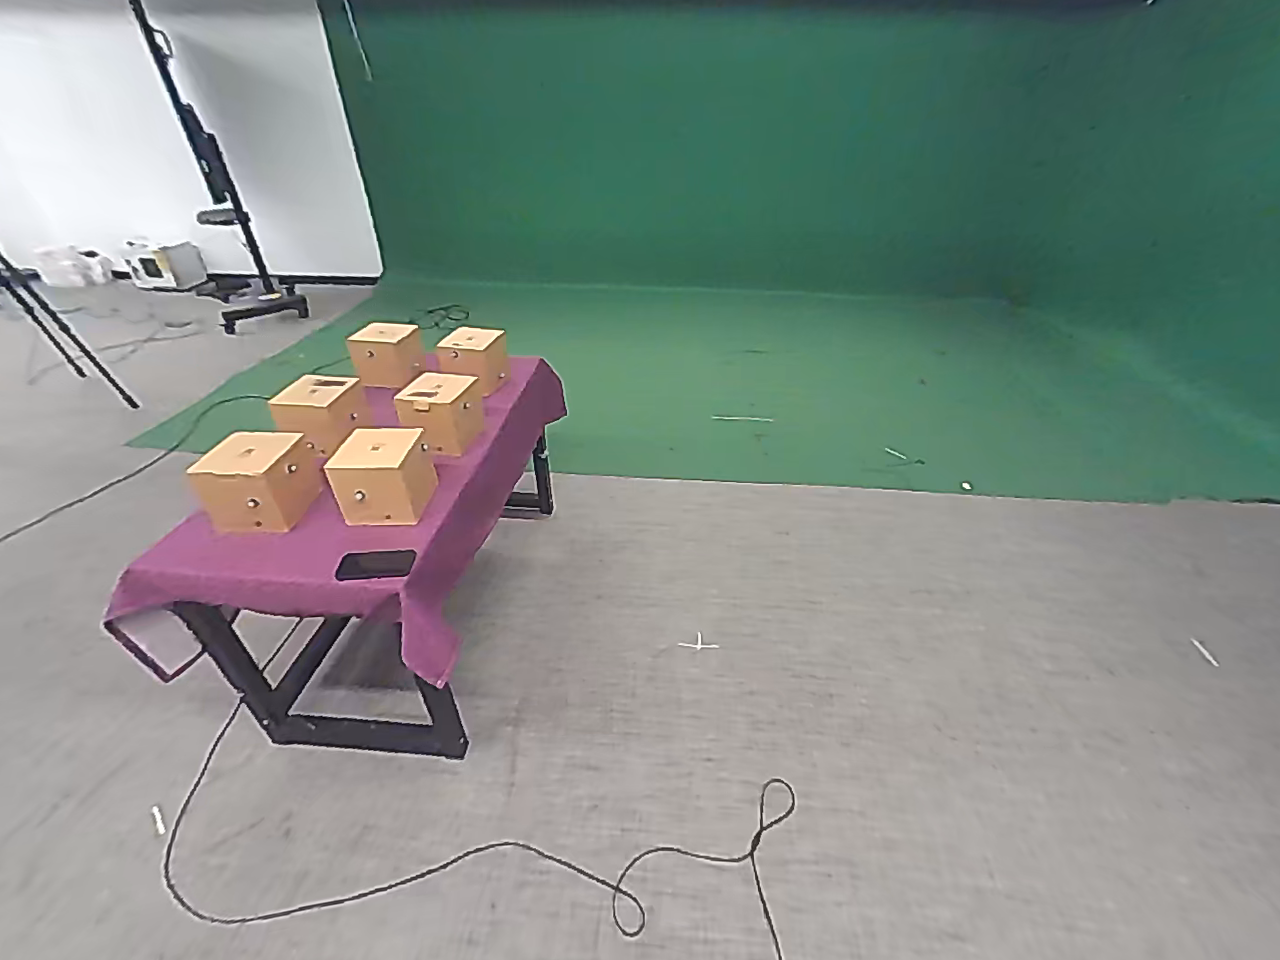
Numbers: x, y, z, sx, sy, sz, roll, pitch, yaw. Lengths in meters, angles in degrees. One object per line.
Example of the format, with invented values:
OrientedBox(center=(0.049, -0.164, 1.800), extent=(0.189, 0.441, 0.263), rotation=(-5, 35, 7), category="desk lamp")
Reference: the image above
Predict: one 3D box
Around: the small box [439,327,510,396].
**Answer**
OrientedBox(center=(-0.556, -0.405, 1.842), extent=(0.168, 0.176, 0.179), rotation=(7, 36, 10), category="small box")

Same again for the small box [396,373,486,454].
OrientedBox(center=(-0.556, -0.189, 1.540), extent=(0.168, 0.176, 0.179), rotation=(7, 35, 9), category="small box")

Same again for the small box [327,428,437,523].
OrientedBox(center=(-0.599, -0.009, 1.287), extent=(0.168, 0.176, 0.179), rotation=(0, 34, 0), category="small box")

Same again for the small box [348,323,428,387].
OrientedBox(center=(-0.866, -0.434, 1.877), extent=(0.179, 0.176, 0.168), rotation=(6, 36, 6), category="small box")
